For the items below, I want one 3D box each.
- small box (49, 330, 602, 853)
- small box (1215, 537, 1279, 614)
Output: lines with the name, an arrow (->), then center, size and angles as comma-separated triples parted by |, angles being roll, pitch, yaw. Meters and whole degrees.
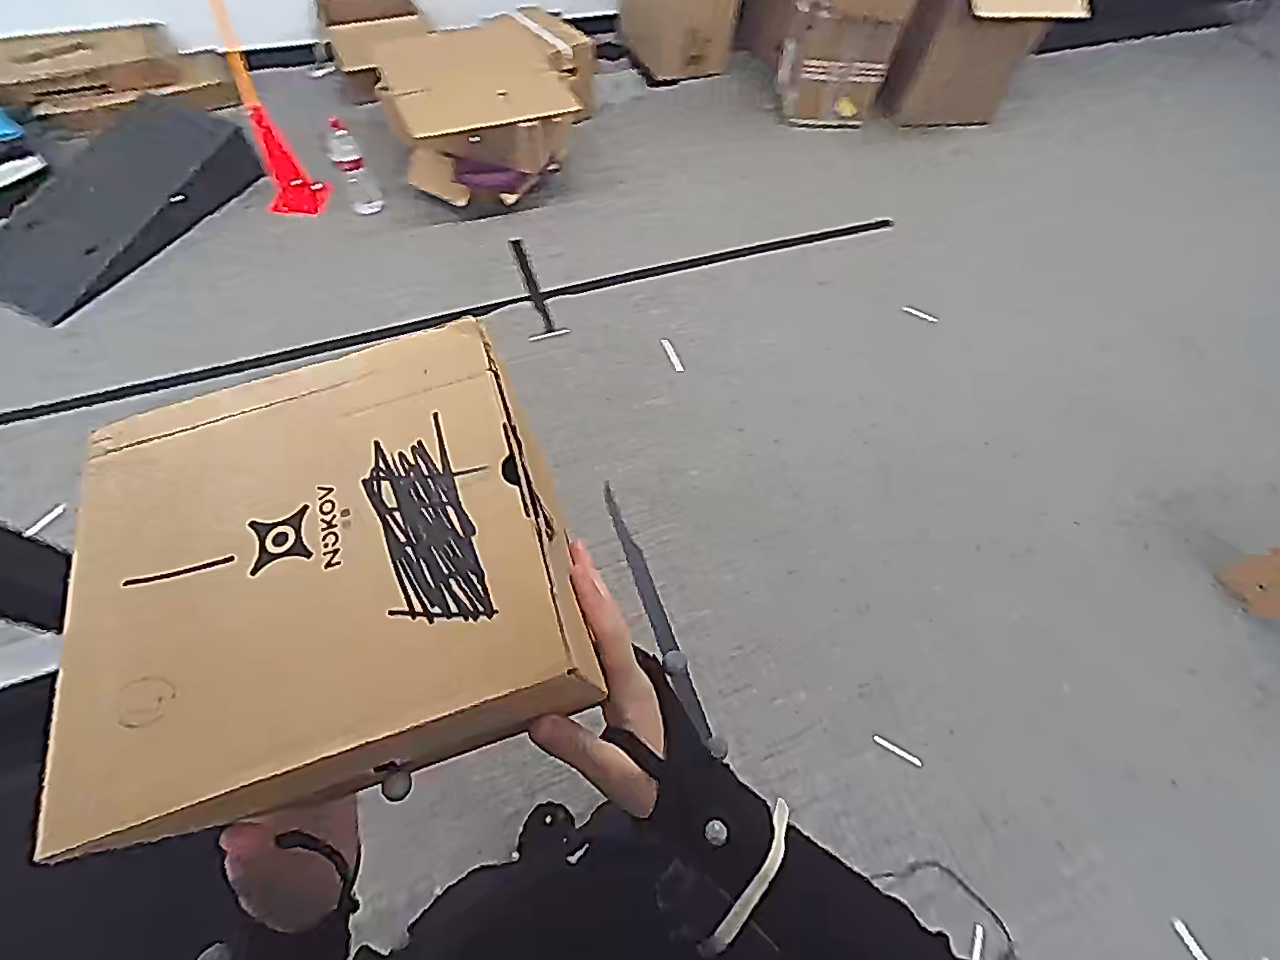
small box -> -0.122, 0.057, 0.281 | 0.179, 0.176, 0.168 | -16, 66, -5
small box -> 1.836, 0.268, 1.554 | 0.179, 0.176, 0.168 | -17, 63, -12
